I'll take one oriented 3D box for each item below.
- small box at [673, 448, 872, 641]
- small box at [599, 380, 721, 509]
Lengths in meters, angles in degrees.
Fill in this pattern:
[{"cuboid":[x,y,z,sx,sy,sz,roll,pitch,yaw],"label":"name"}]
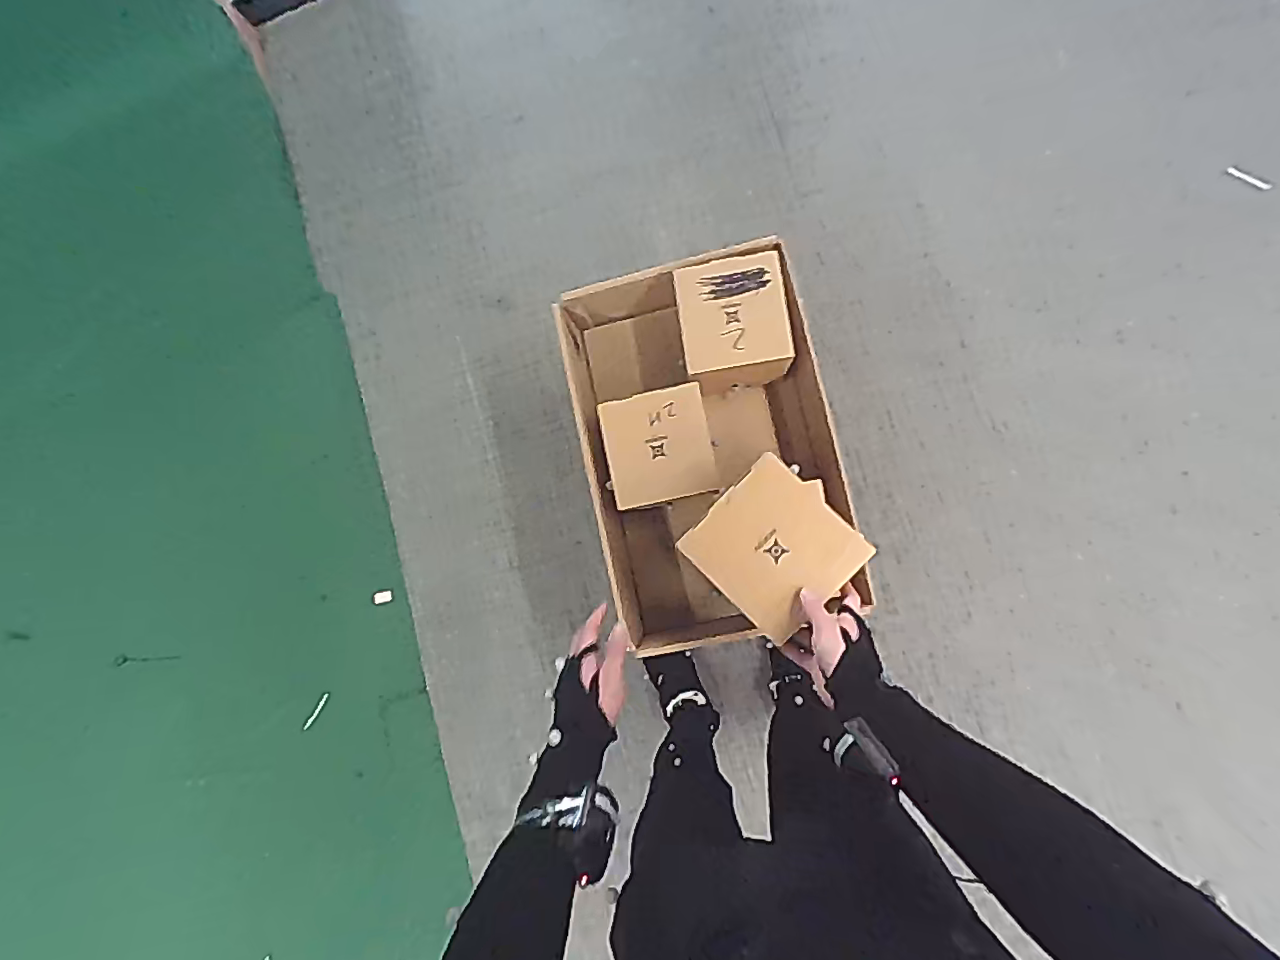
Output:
[{"cuboid":[0.168,0.080,0.723,0.179,0.176,0.168,44,93,10],"label":"small box"},{"cuboid":[0.042,-0.052,0.914,0.168,0.176,0.179,-12,85,7],"label":"small box"}]
